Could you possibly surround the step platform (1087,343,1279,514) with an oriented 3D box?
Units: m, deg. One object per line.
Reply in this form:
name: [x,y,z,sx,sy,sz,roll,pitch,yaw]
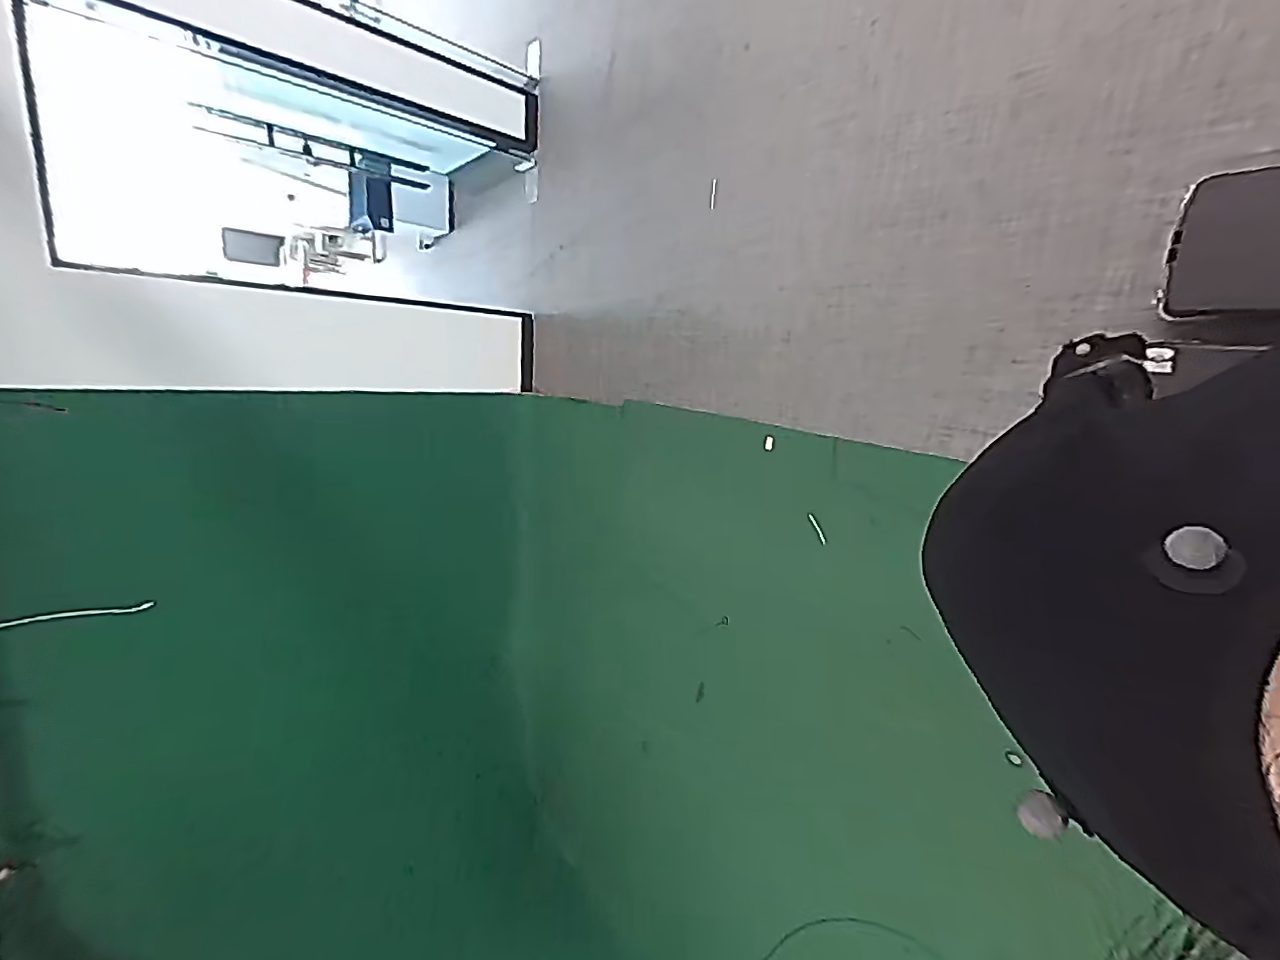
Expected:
step platform: [1.161,-0.057,0.847,0.684,0.204,0.286,18,108,46]
